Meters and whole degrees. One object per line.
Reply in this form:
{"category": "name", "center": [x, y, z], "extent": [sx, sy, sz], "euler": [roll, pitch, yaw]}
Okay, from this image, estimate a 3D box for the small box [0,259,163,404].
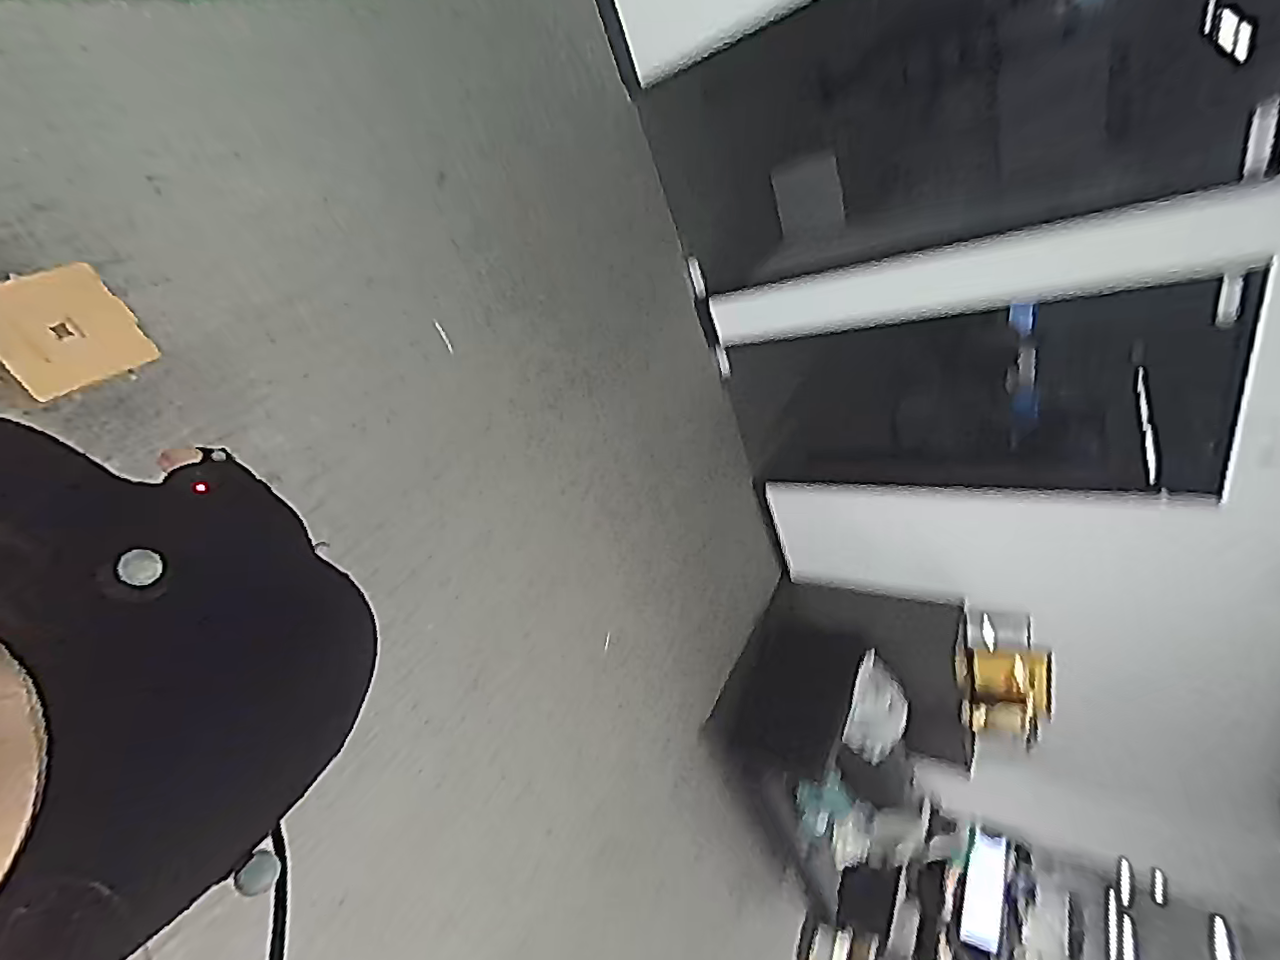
{"category": "small box", "center": [-0.946, -0.238, 0.882], "extent": [0.179, 0.176, 0.168], "euler": [-47, 125, -39]}
